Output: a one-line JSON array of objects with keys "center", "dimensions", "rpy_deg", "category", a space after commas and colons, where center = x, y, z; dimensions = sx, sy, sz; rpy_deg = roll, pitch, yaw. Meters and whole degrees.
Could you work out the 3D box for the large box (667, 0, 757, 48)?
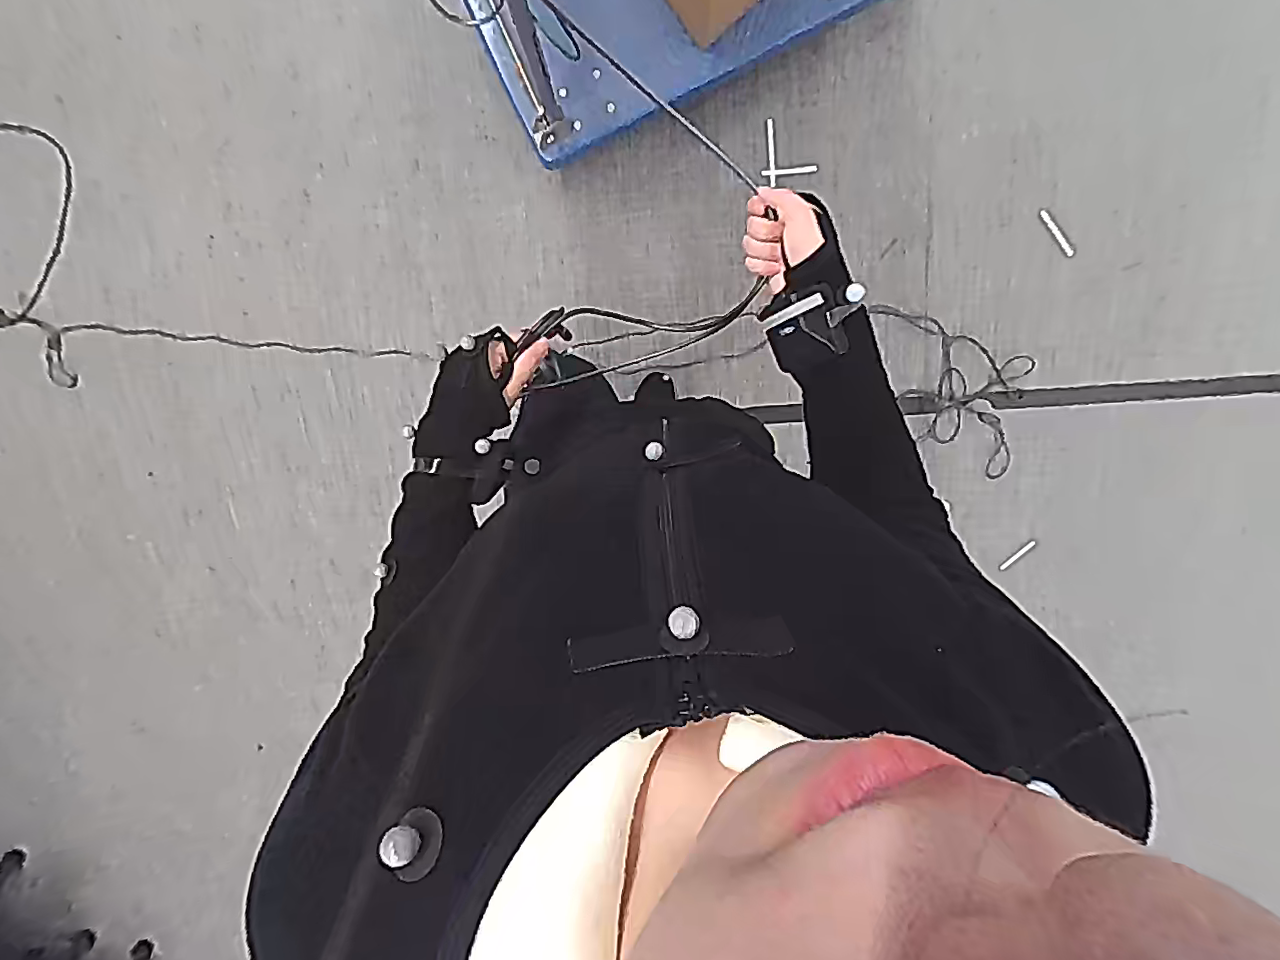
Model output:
[{"center": [0.121, -1.103, 0.929], "dimensions": [0.320, 0.320, 0.408], "rpy_deg": [-39, 100, 9], "category": "large box"}]
